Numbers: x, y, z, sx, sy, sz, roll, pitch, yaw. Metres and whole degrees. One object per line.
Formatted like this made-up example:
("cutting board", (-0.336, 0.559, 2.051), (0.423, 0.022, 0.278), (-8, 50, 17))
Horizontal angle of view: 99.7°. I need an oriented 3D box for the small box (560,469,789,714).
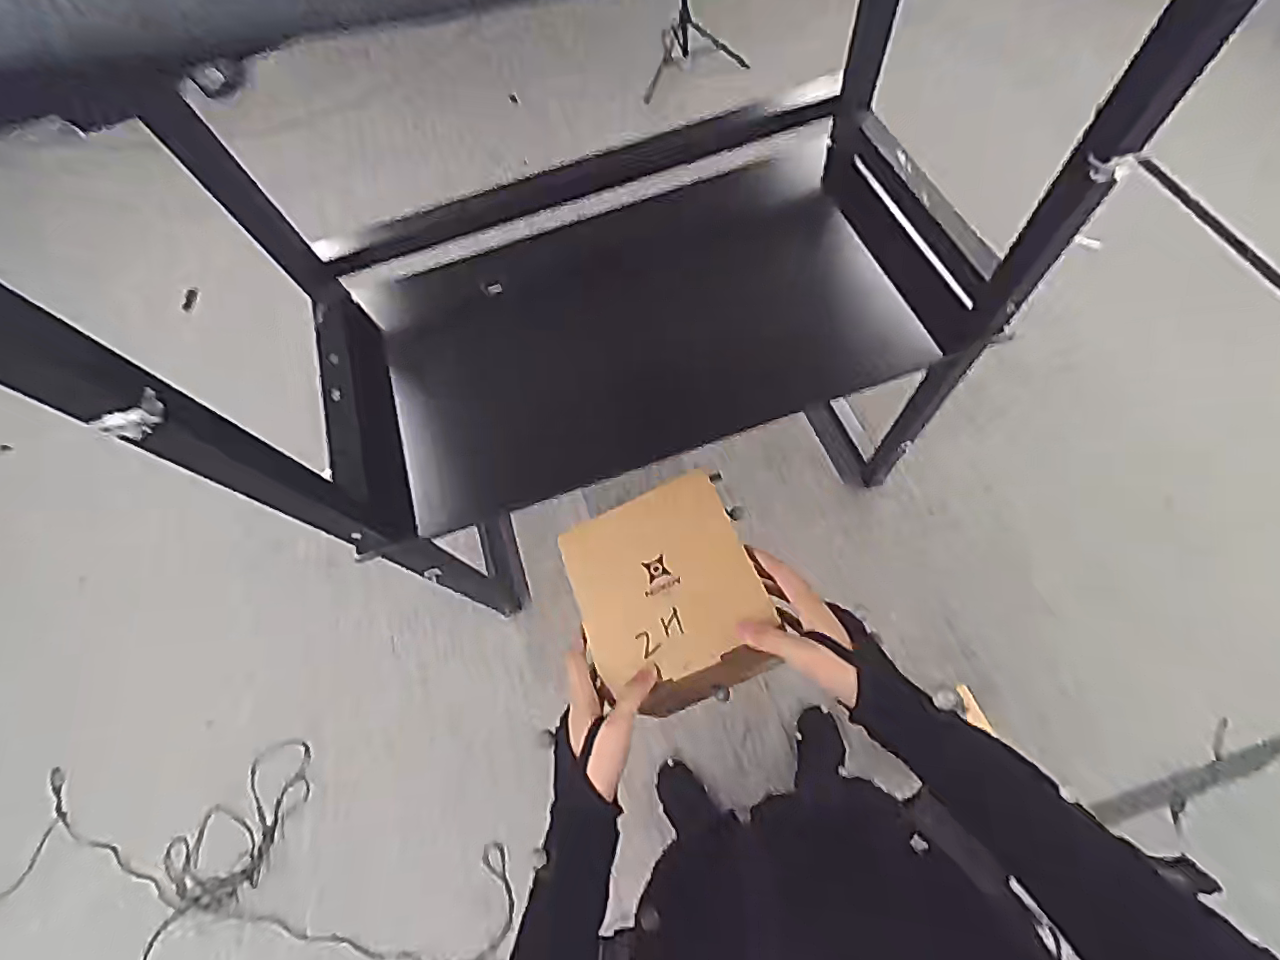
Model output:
("small box", (0.041, 0.124, 0.564), (0.168, 0.176, 0.179), (-26, 59, 5))
